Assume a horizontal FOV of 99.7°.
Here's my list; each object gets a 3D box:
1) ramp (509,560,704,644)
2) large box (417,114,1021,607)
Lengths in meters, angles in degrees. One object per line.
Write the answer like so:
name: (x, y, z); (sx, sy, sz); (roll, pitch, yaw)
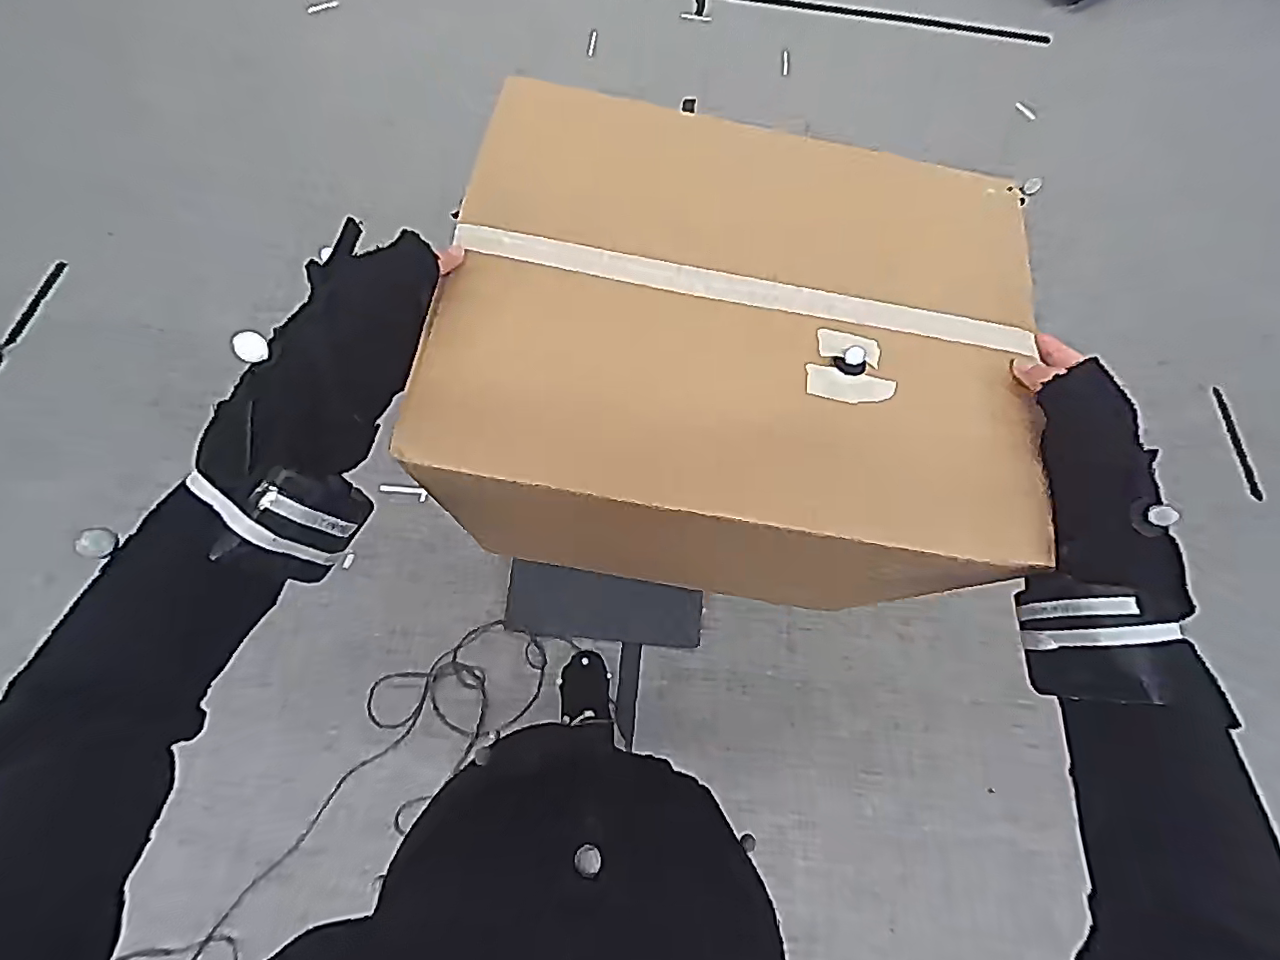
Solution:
ramp: (-0.043, -0.091, 1.464); (0.509, 0.206, 0.991); (5, 68, -4)
large box: (0.059, -0.072, 0.531); (0.408, 0.320, 0.320); (10, 71, -3)
